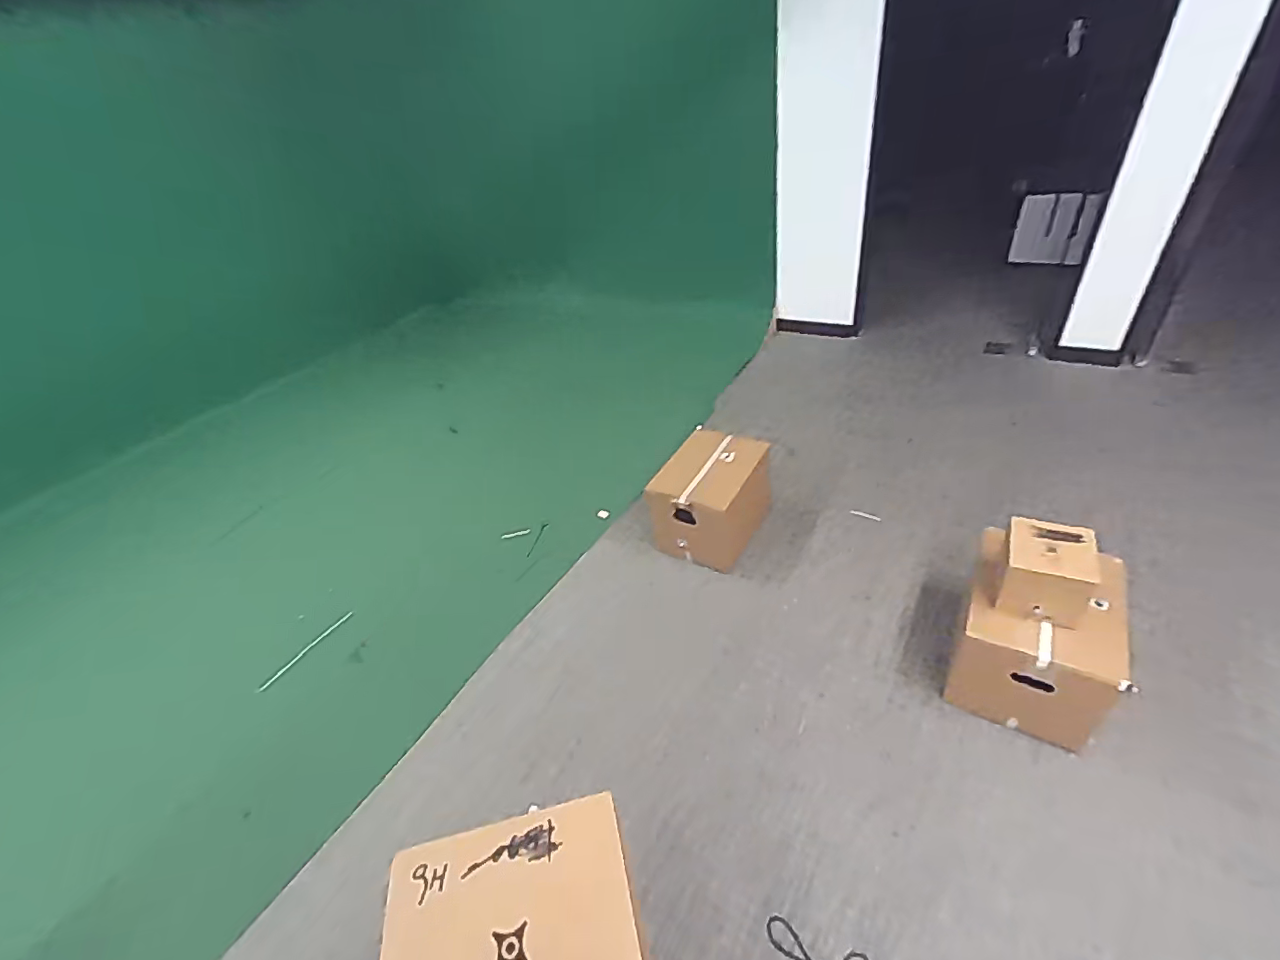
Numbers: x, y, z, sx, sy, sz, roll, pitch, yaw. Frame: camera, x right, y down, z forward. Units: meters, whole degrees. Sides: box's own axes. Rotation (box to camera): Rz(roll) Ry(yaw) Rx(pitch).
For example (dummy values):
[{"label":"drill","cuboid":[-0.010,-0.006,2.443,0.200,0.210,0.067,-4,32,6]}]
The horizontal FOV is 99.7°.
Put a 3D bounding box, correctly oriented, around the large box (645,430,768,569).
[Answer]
[{"label":"large box","cuboid":[0.266,0.064,2.037,0.320,0.320,0.408,15,45,30]}]
